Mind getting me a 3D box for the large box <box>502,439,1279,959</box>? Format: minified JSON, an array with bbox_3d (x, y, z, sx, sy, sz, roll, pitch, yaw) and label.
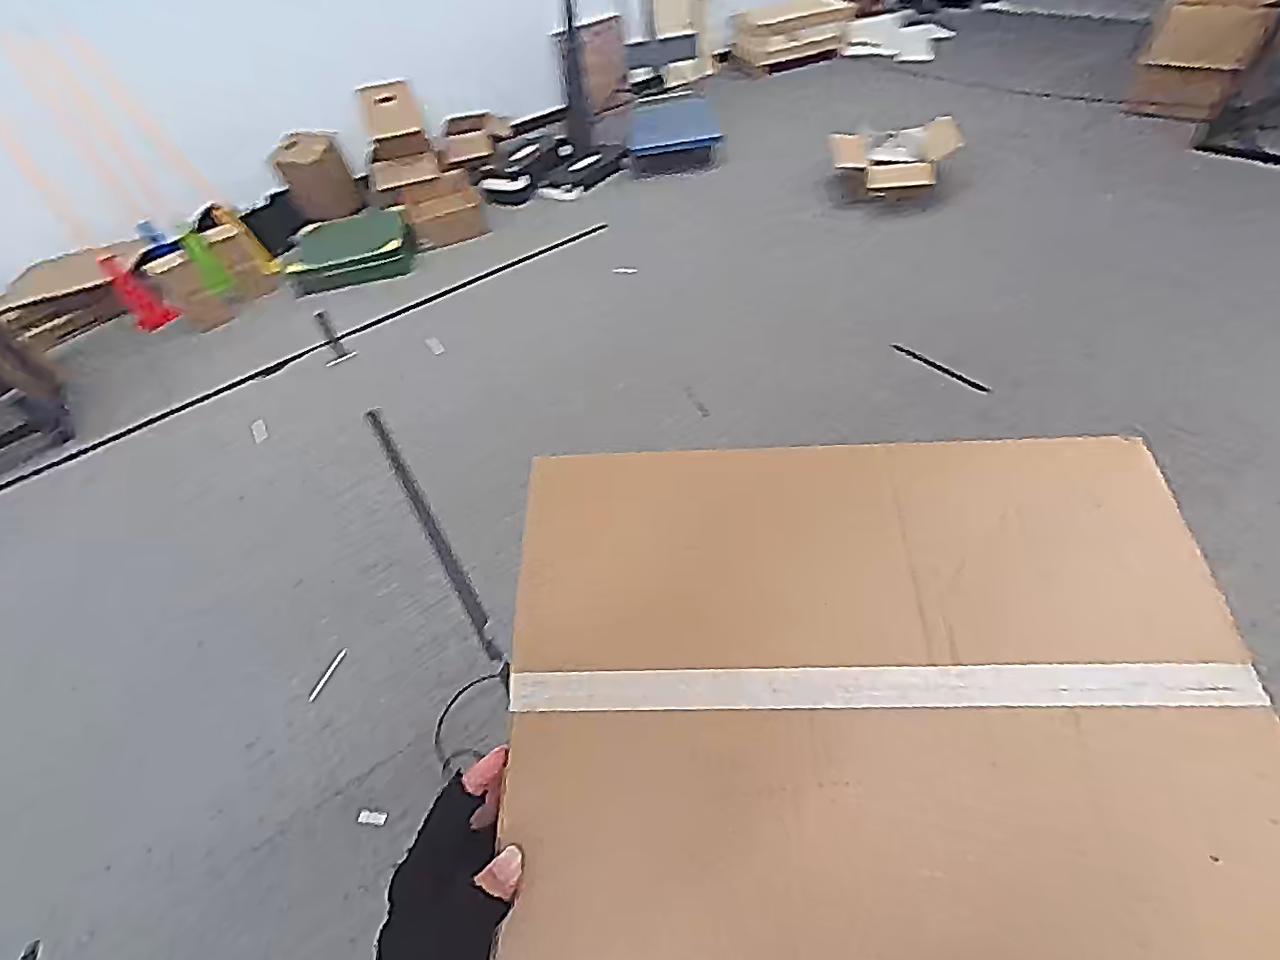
[{"bbox_3d":[0.131,0.189,0.450,0.408,0.320,0.320,-4,65,3],"label":"large box"}]
